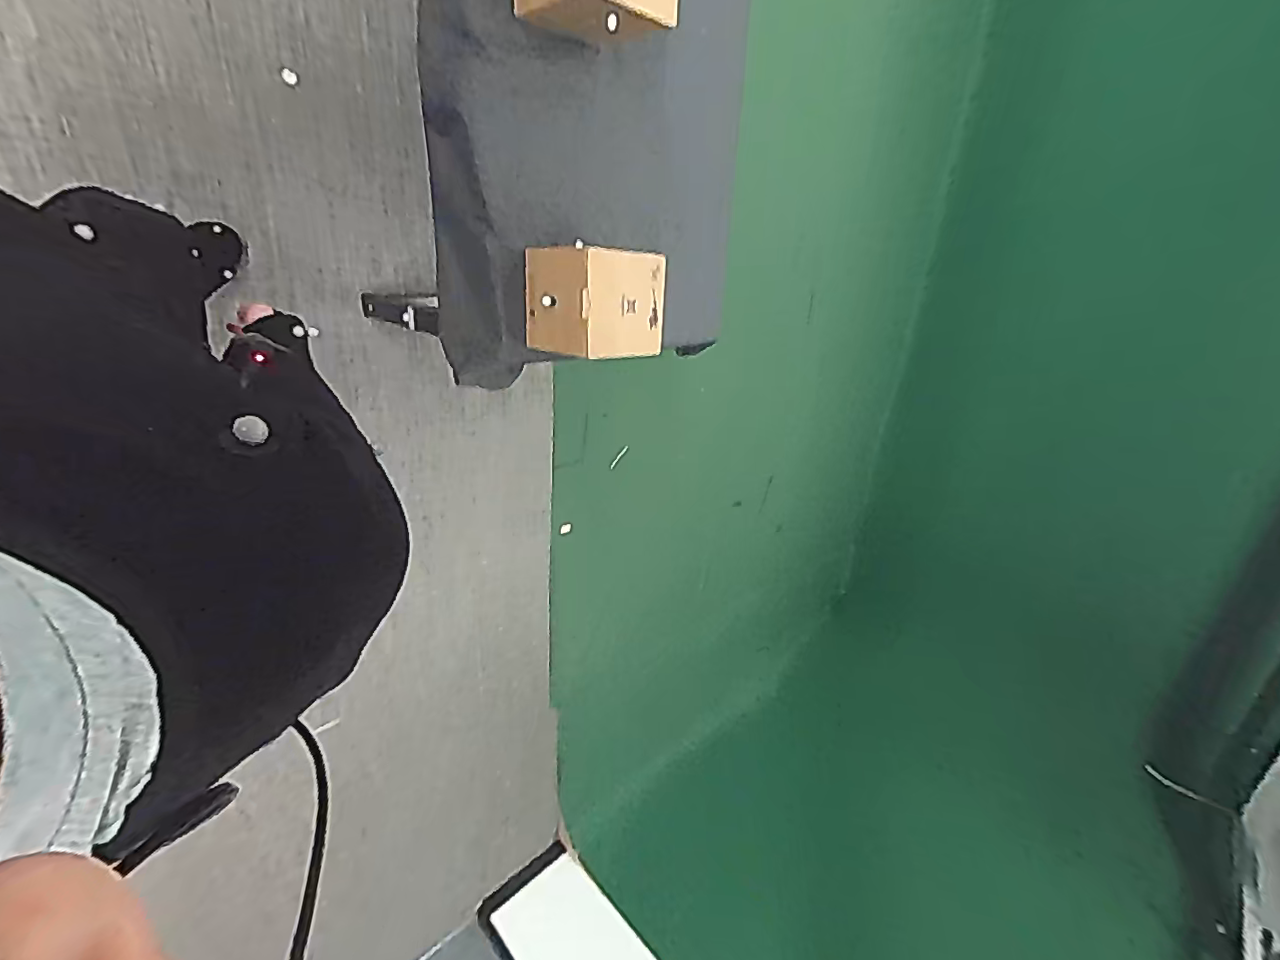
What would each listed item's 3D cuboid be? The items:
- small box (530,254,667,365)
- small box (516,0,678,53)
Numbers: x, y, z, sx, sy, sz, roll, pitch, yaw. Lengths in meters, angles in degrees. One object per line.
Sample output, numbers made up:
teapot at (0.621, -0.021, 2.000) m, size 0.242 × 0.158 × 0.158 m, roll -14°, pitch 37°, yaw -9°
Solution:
small box at (-0.076, -0.290, 0.931) m, size 0.179 × 0.176 × 0.168 m, roll -15°, pitch 115°, yaw -43°
small box at (-0.061, -0.729, 0.756) m, size 0.179 × 0.176 × 0.168 m, roll -20°, pitch 123°, yaw -42°
